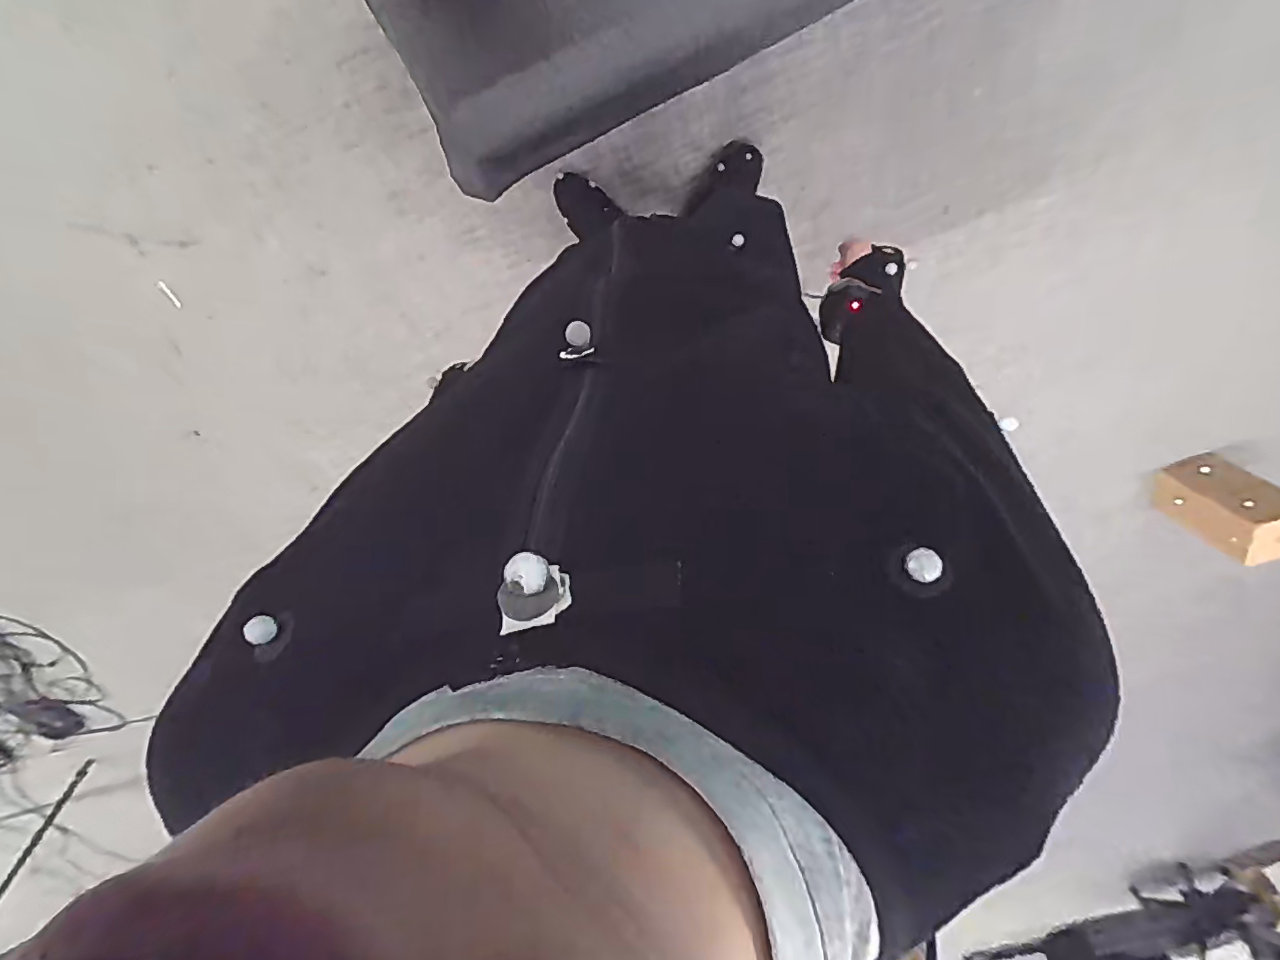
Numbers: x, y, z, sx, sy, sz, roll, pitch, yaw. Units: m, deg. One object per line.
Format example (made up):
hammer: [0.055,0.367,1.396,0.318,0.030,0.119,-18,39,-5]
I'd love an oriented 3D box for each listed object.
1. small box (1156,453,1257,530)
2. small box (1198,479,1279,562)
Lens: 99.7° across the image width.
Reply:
small box: [1.892,0.031,1.817,0.168,0.176,0.179,-23,121,11]
small box: [1.902,0.116,1.678,0.168,0.176,0.179,-21,123,11]
